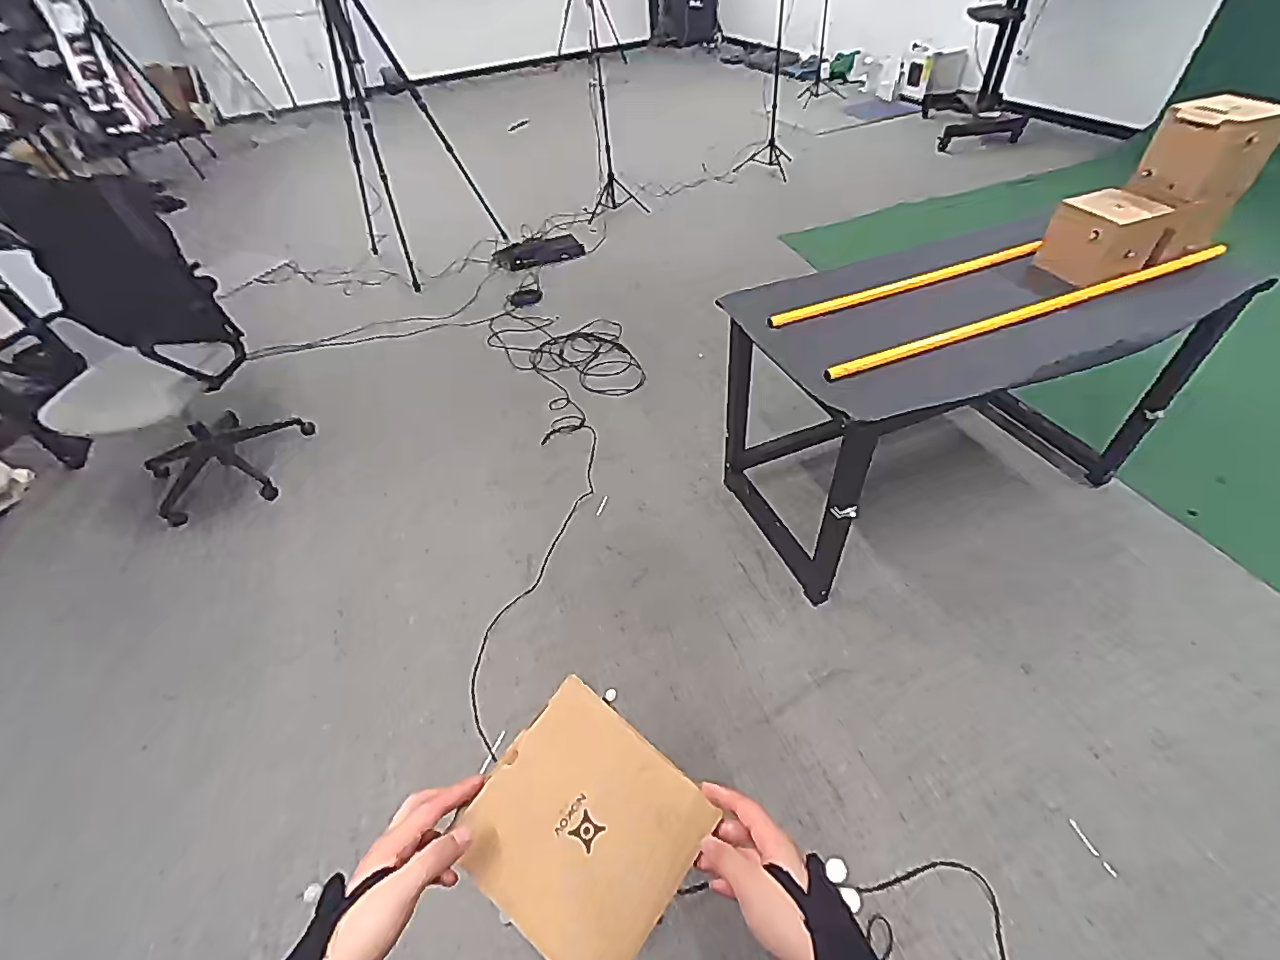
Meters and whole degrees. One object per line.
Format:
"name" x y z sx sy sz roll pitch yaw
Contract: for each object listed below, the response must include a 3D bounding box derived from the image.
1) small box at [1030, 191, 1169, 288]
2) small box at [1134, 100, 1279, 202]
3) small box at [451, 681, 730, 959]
"small box" 1.164 -0.609 1.386 0.168 0.176 0.179 -17 47 -9
"small box" 1.363 -0.795 1.310 0.179 0.176 0.168 -15 47 -8
"small box" -0.039 0.320 0.519 0.179 0.176 0.168 35 69 16
